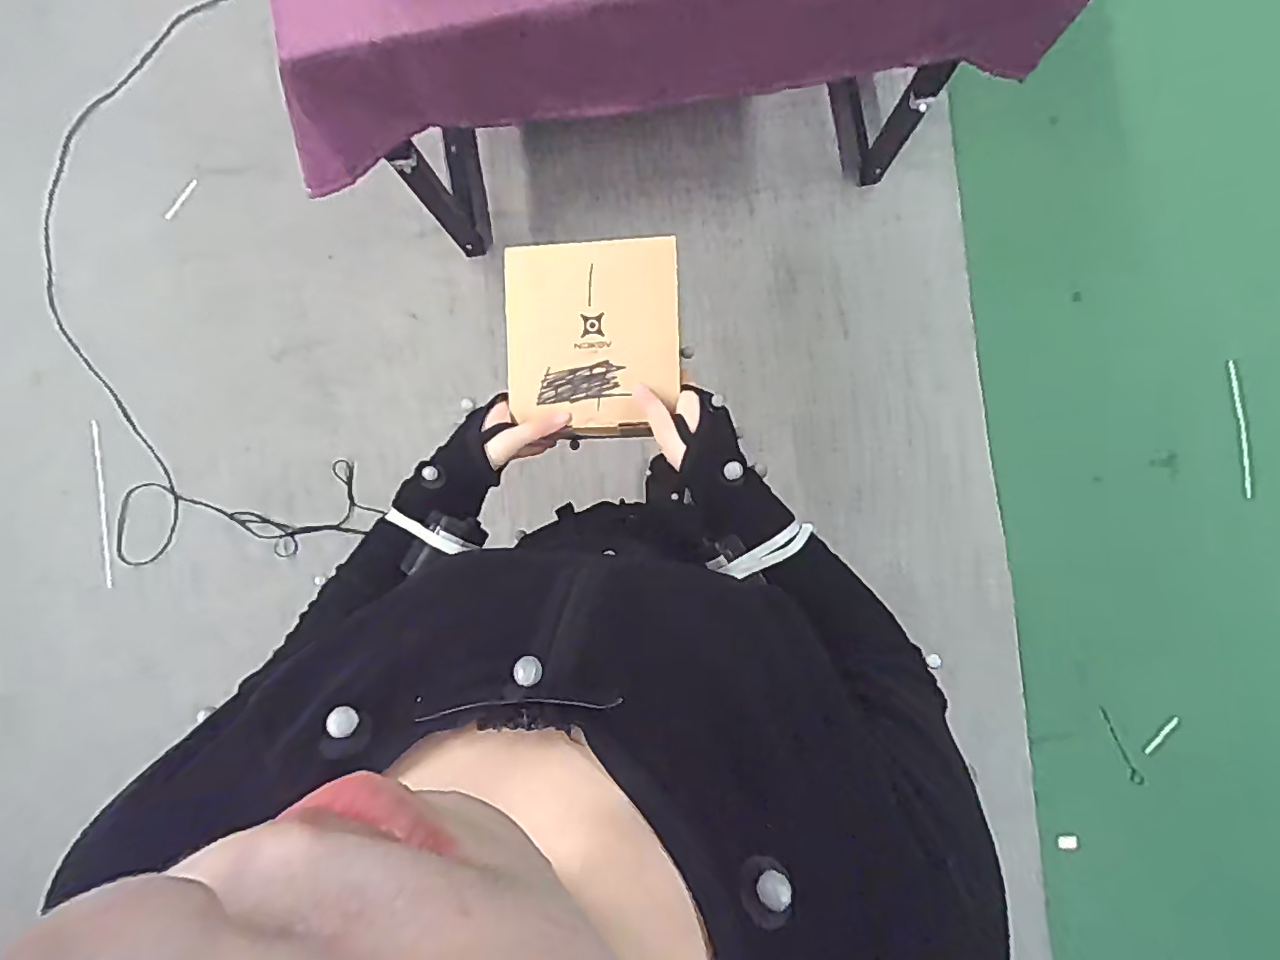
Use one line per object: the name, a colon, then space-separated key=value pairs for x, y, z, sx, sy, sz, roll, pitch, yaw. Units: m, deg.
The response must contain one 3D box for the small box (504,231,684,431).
small box: x=-0.039 y=-0.144 z=0.590 sx=0.168 sy=0.176 sz=0.179 roll=-2 pitch=90 yaw=6
